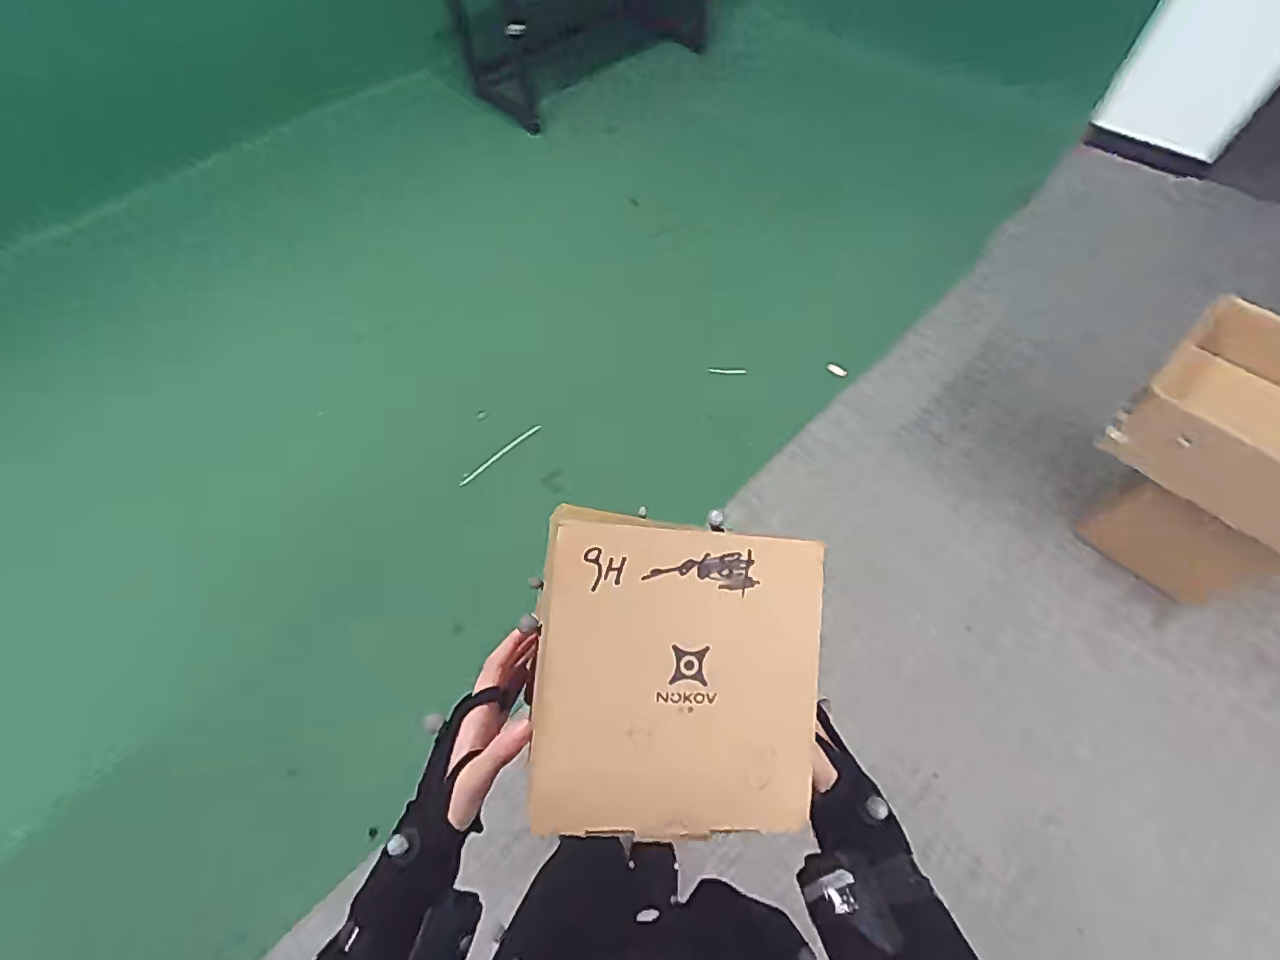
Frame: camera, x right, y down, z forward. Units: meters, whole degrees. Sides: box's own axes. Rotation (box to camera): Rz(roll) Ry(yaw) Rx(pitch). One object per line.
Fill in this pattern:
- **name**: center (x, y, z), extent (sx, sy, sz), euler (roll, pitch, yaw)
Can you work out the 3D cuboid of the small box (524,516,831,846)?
- **small box**: center (0.013, 0.123, 0.391), extent (0.168, 0.176, 0.179), euler (7, 87, -10)
